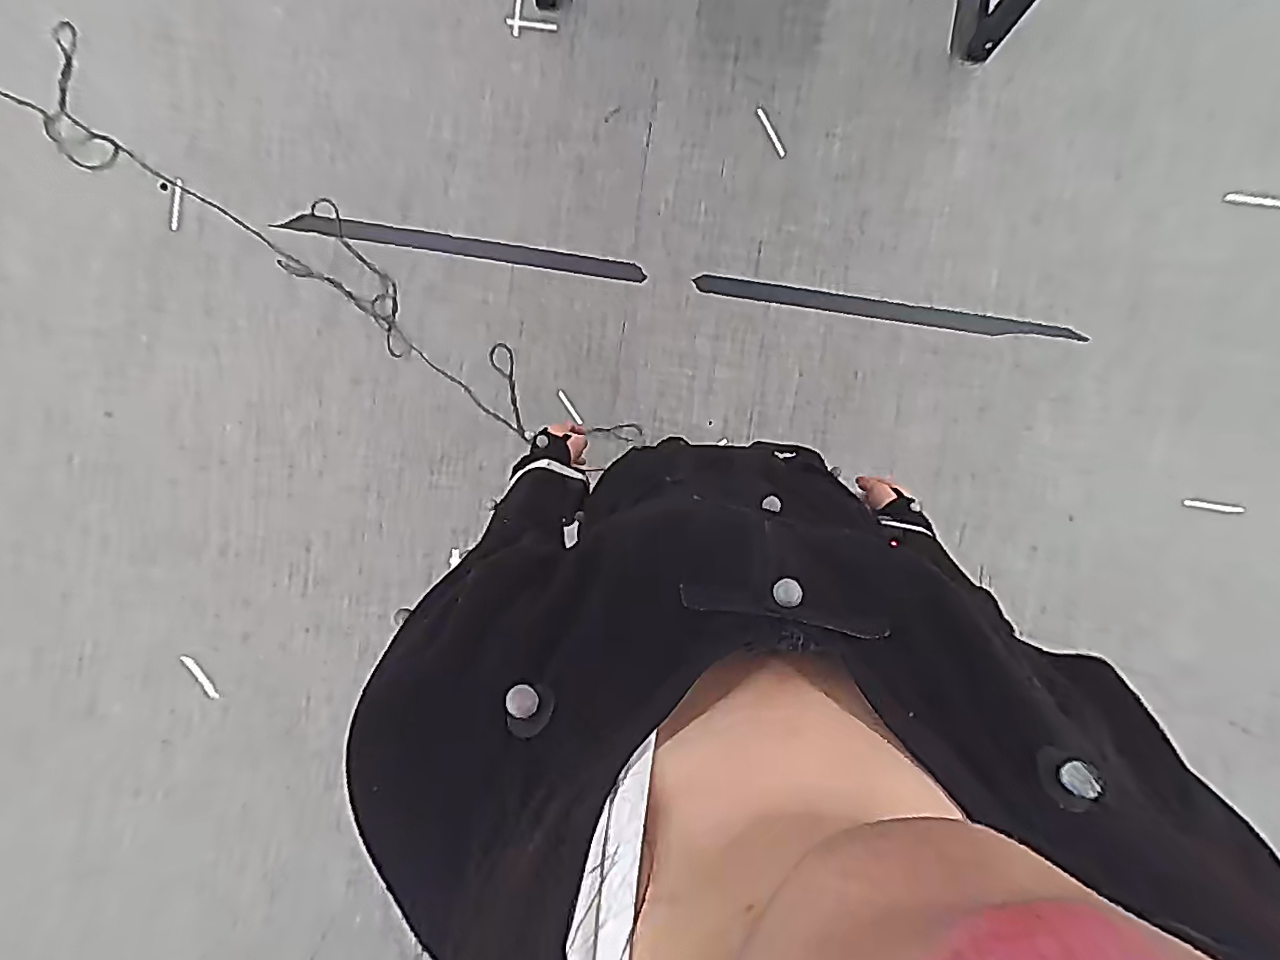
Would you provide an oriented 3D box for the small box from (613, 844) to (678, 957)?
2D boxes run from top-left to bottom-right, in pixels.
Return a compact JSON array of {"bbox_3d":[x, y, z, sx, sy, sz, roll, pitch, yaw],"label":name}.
[{"bbox_3d":[0.017,1.117,1.443,0.168,0.176,0.179,-1,92,0],"label":"small box"}]

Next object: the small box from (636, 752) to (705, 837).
[{"bbox_3d":[0.076,0.842,1.427,0.168,0.176,0.179,-6,92,1],"label":"small box"}]
